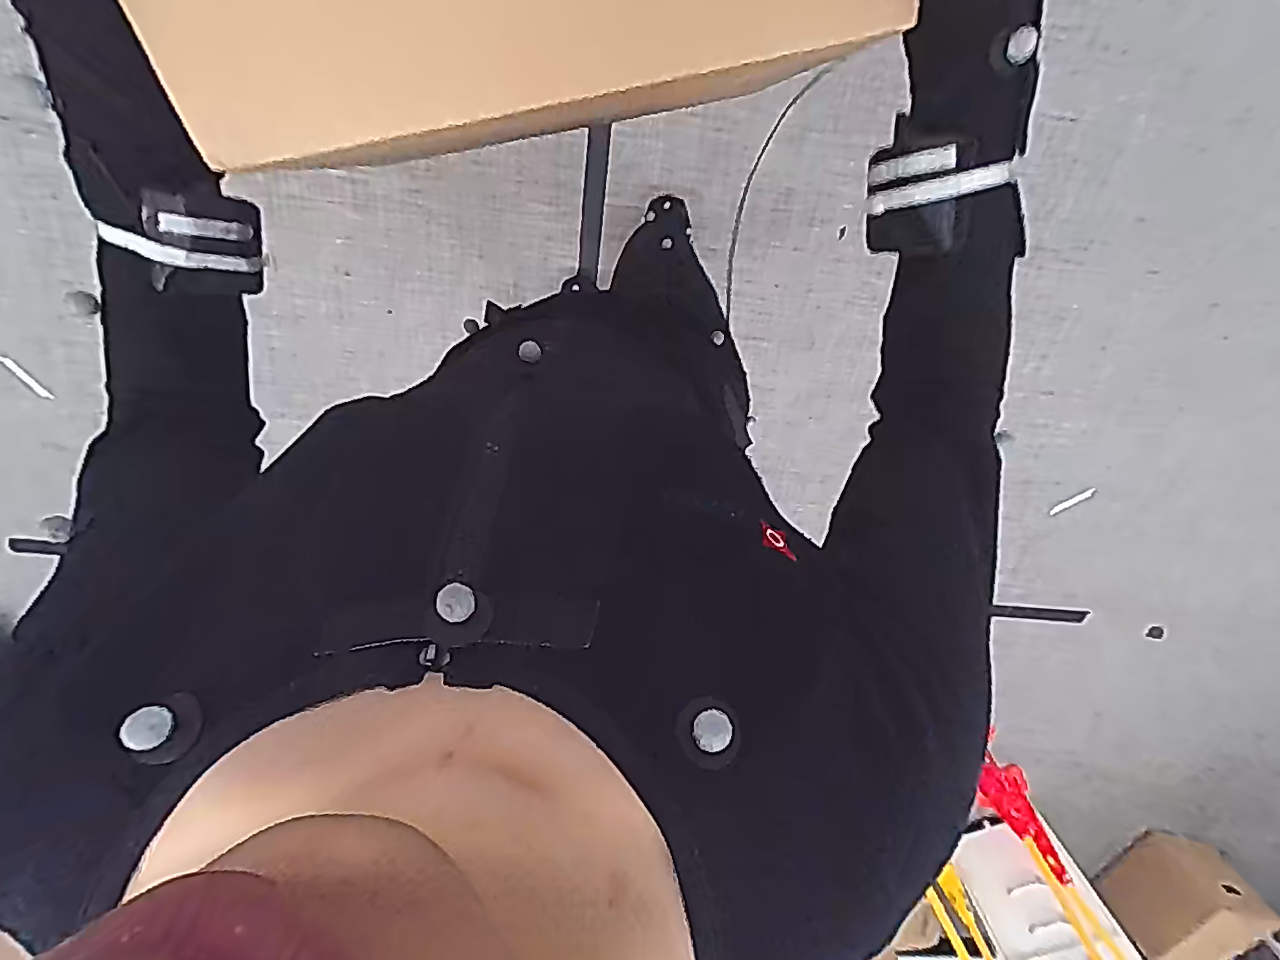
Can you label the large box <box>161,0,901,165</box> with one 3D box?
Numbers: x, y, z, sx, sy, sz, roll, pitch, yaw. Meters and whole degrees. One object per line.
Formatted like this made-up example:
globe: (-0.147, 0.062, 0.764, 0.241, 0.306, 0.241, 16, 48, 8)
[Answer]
large box: (-0.082, -0.430, 0.366, 0.408, 0.320, 0.320, -11, 121, 1)
